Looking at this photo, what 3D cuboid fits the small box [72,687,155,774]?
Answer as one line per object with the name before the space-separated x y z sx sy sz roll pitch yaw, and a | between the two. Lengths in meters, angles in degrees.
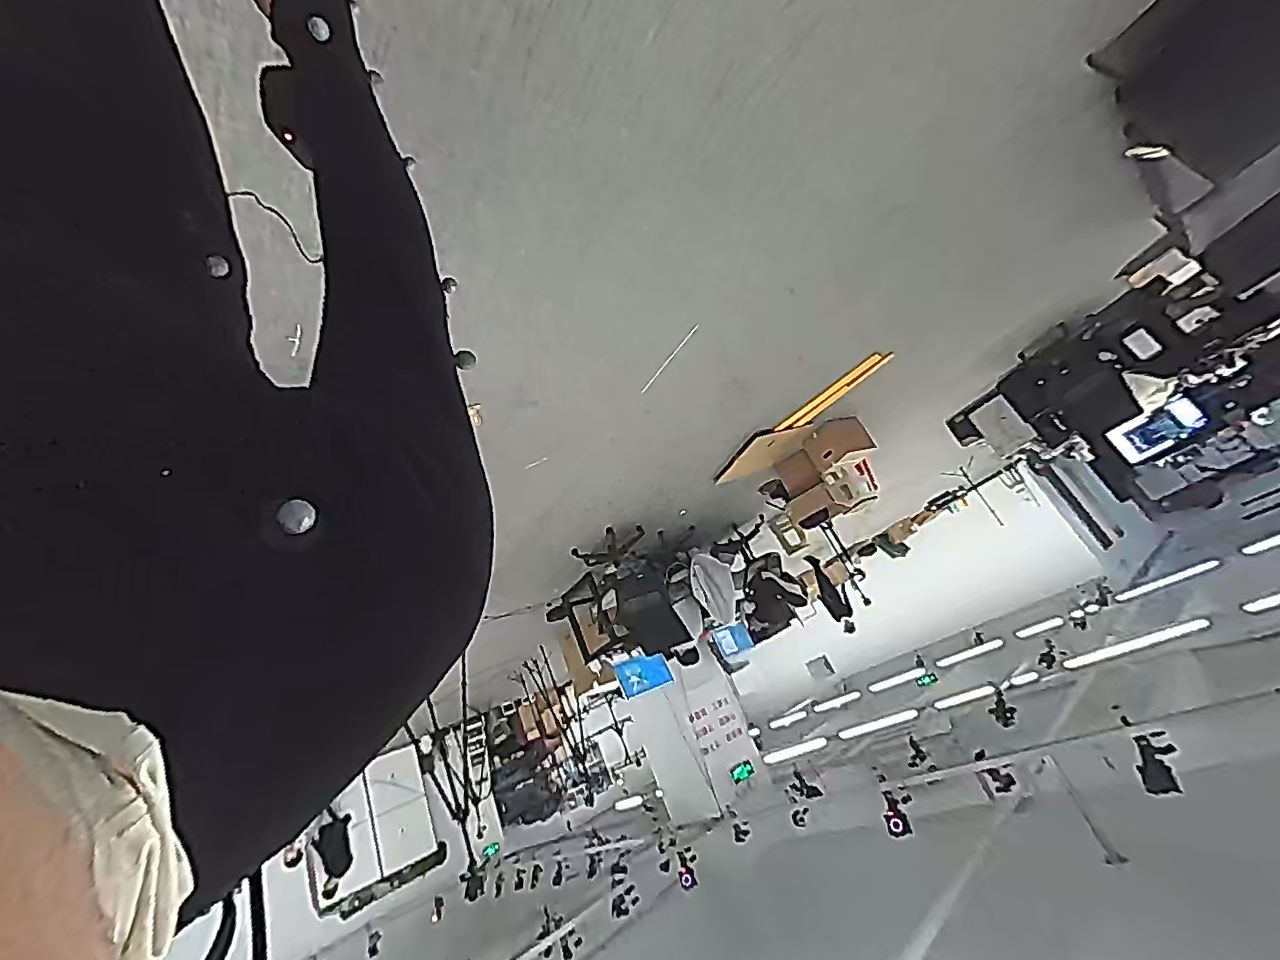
small box | -1.545 0.730 1.591 0.168 0.176 0.179 -4 150 -42
